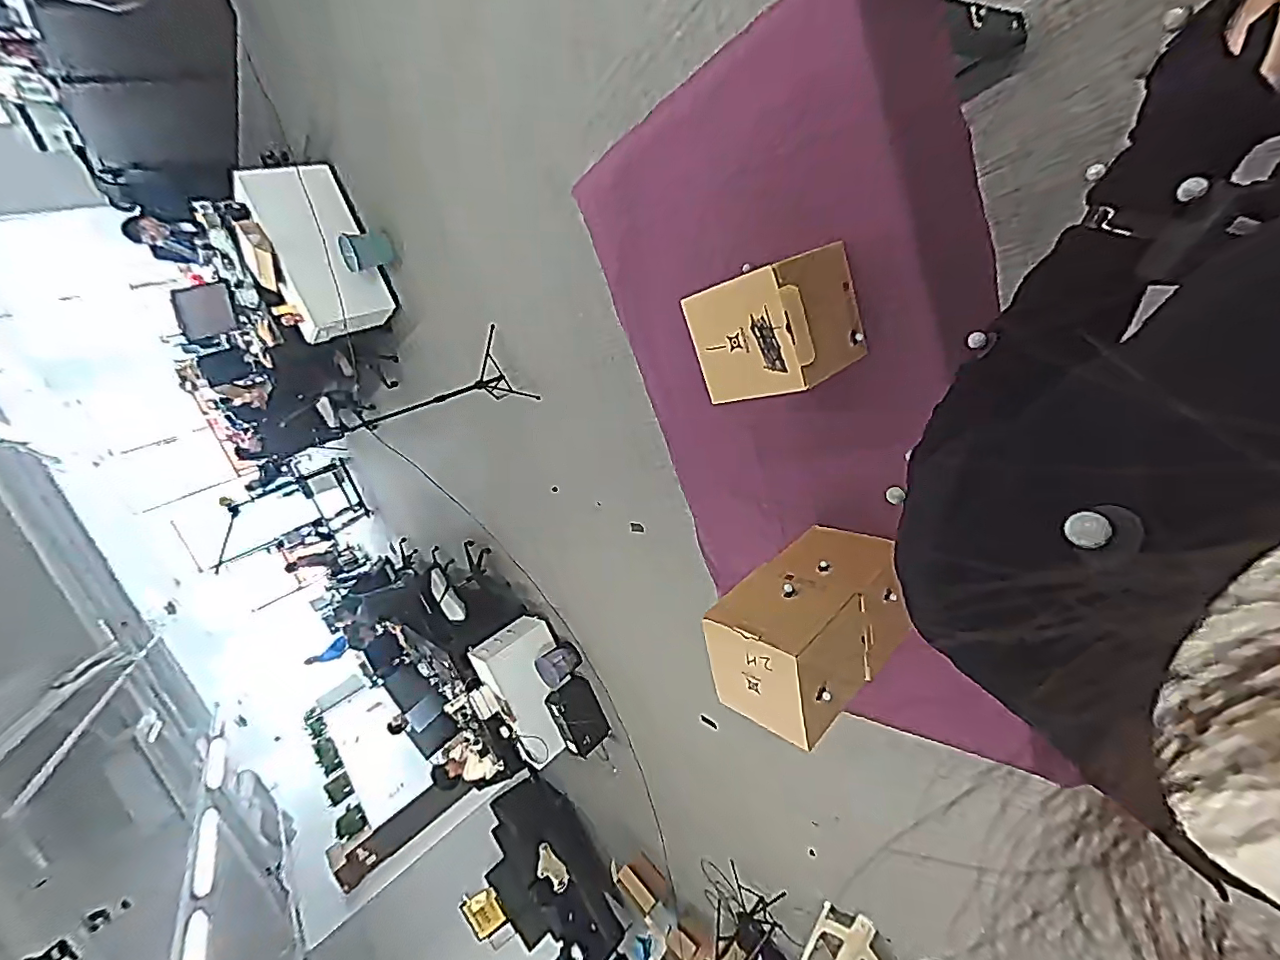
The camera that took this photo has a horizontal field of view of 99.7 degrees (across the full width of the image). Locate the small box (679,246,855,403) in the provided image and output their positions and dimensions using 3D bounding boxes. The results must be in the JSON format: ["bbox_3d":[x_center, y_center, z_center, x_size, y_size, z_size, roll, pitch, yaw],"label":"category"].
[{"bbox_3d":[0.194,-0.226,0.795,0.179,0.176,0.168,1,115,53],"label":"small box"}]

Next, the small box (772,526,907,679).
[{"bbox_3d":[0.339,0.196,0.925,0.179,0.176,0.168,11,122,48],"label":"small box"}]

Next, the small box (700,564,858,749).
[{"bbox_3d":[0.220,0.258,0.832,0.168,0.176,0.179,12,122,46],"label":"small box"}]
